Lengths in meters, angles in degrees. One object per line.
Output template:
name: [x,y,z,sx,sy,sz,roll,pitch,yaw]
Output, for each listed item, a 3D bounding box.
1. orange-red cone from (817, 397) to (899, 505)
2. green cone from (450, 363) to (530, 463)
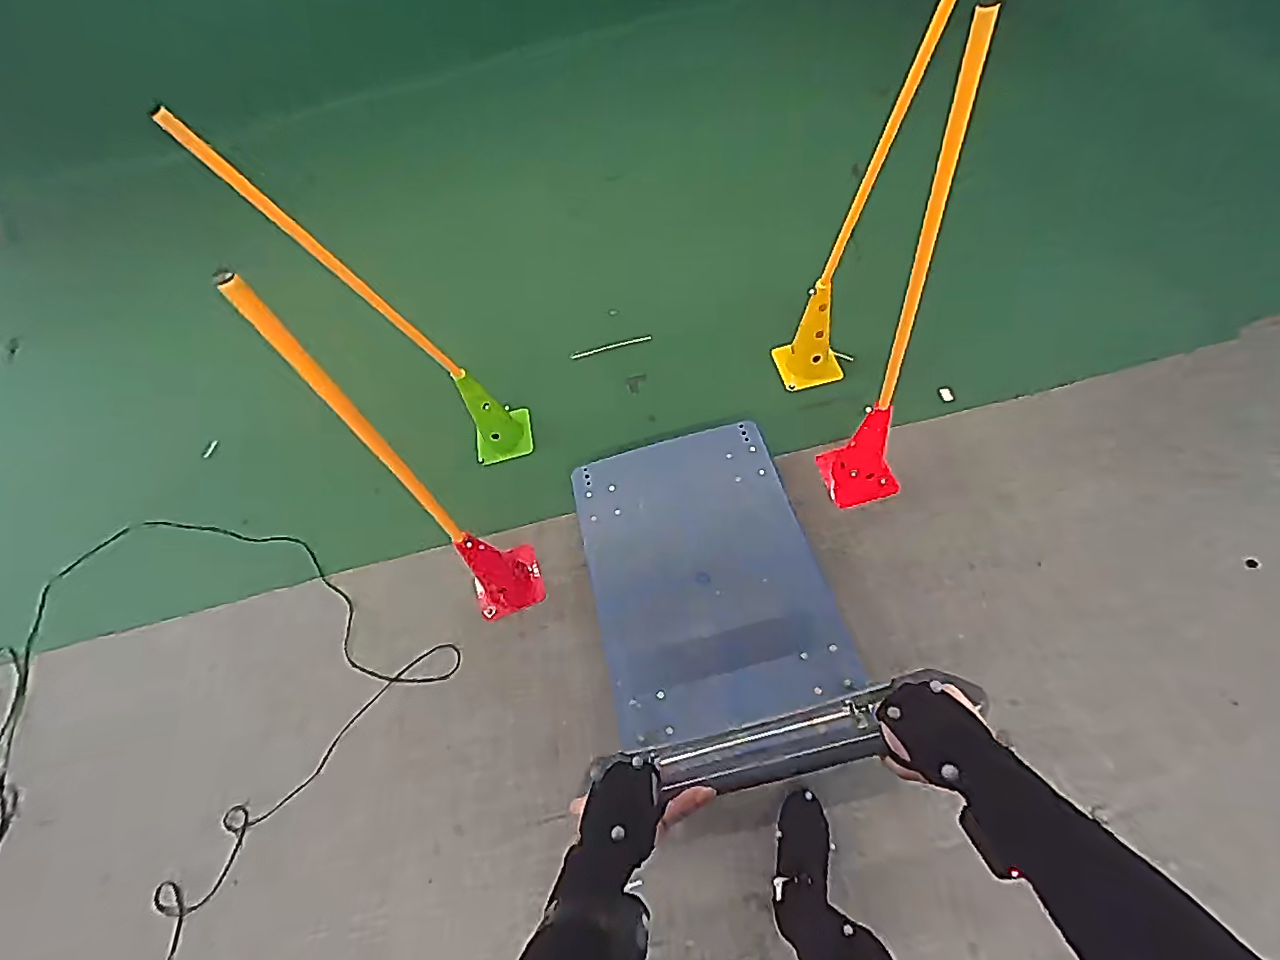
orange-red cone: [0.636,-0.107,1.500,0.198,0.360,0.199,-14,58,1]
green cone: [-0.516,-0.245,1.766,0.200,0.368,0.202,-15,59,2]
